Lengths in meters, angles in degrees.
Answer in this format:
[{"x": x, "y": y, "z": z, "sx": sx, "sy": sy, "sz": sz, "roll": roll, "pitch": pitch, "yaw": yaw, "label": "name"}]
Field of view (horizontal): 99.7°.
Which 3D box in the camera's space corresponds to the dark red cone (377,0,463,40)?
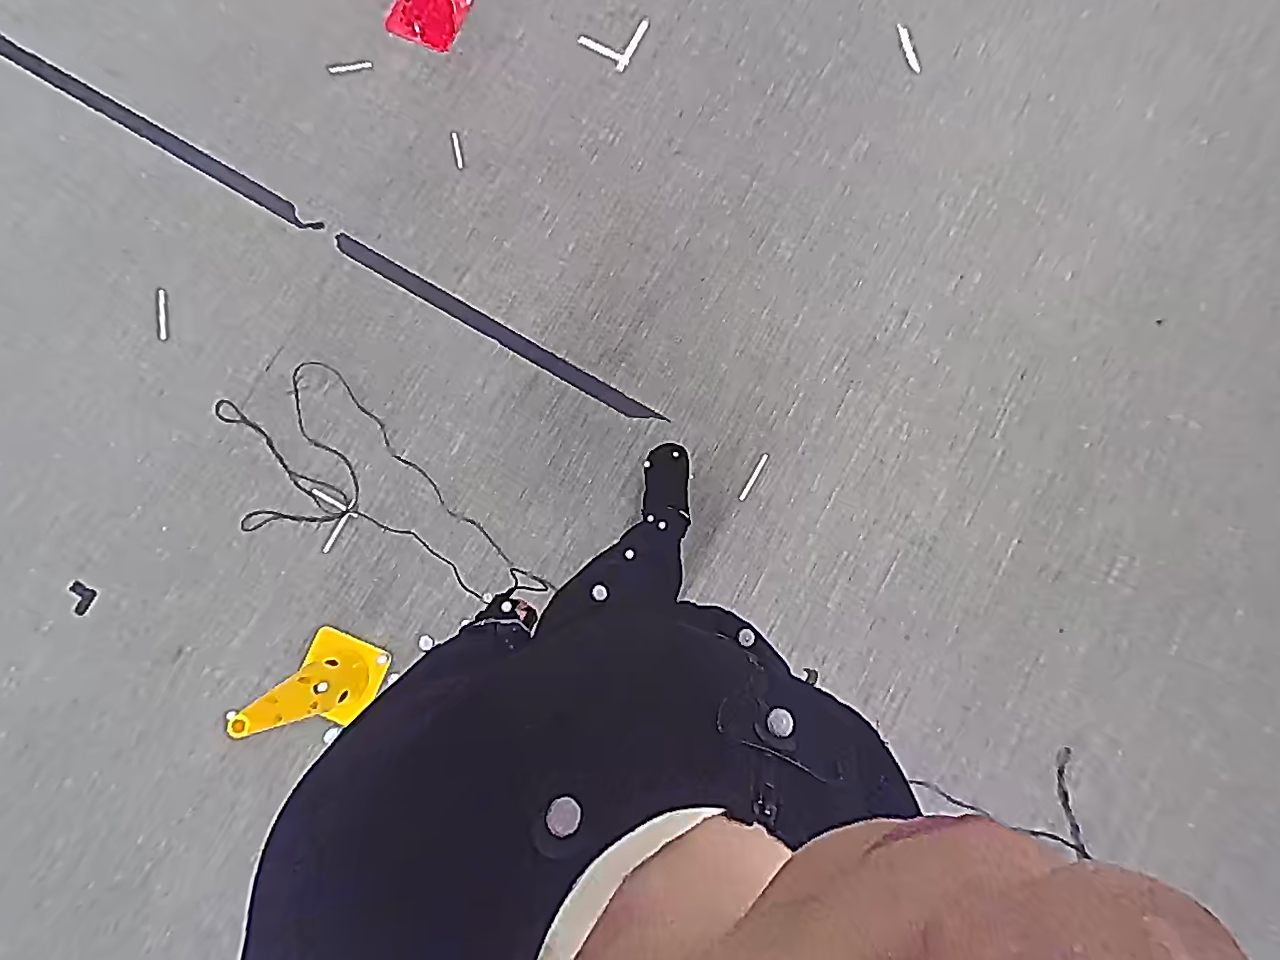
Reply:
[{"x": -0.604, "y": -1.346, "z": 1.338, "sx": 0.202, "sy": 0.394, "sz": 0.201, "roll": 22, "pitch": 85, "yaw": 2, "label": "dark red cone"}]
